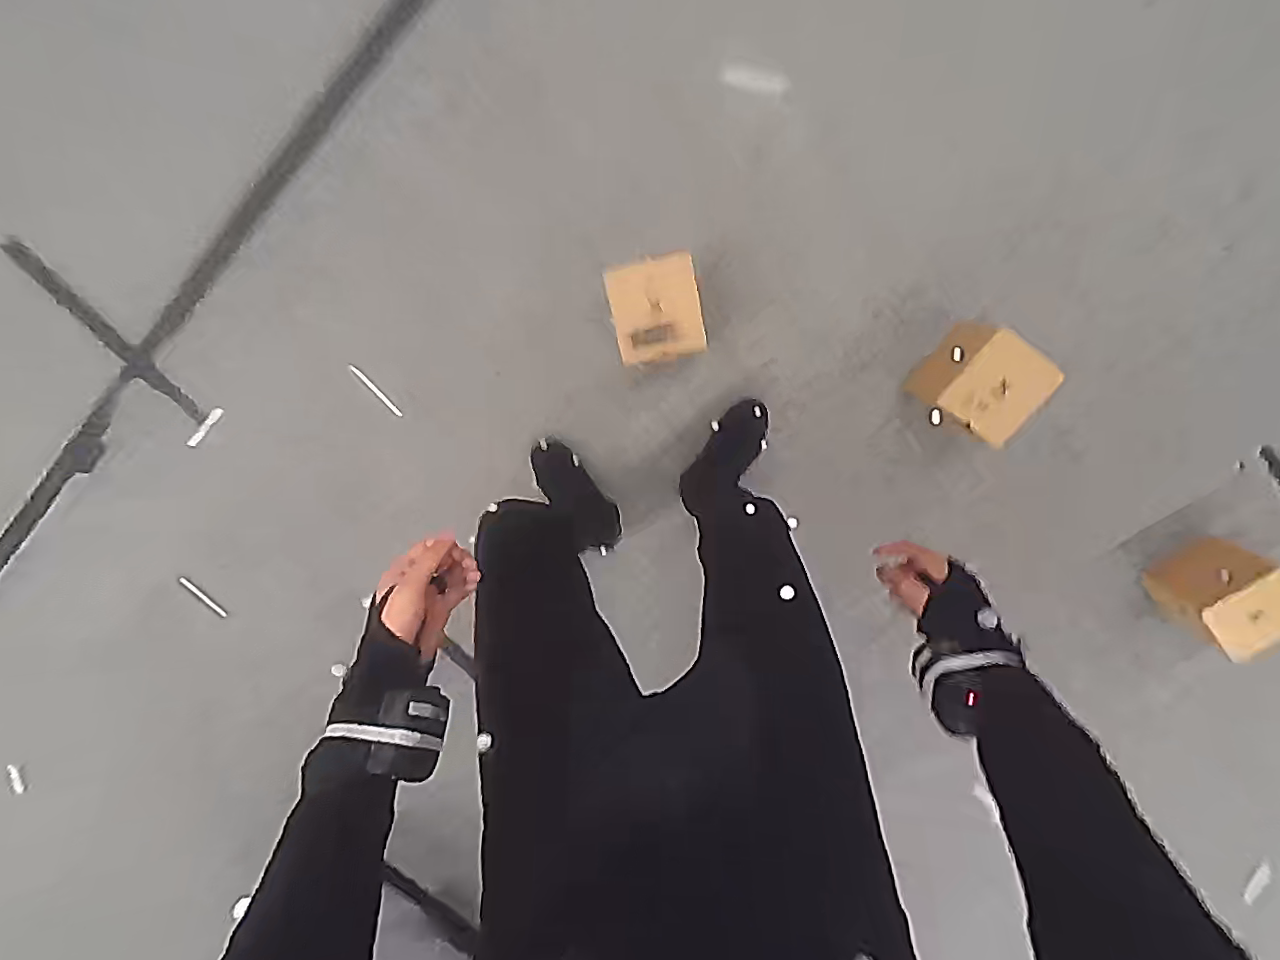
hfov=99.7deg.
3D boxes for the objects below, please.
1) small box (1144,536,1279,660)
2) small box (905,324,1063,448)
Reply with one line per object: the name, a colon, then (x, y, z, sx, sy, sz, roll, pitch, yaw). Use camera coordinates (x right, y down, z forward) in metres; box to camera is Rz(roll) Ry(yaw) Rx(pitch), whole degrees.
small box: (1.305, 0.261, 1.221, 0.179, 0.176, 0.168, -41, 102, 15)
small box: (0.680, -0.199, 1.095, 0.168, 0.176, 0.179, 34, 108, -8)
